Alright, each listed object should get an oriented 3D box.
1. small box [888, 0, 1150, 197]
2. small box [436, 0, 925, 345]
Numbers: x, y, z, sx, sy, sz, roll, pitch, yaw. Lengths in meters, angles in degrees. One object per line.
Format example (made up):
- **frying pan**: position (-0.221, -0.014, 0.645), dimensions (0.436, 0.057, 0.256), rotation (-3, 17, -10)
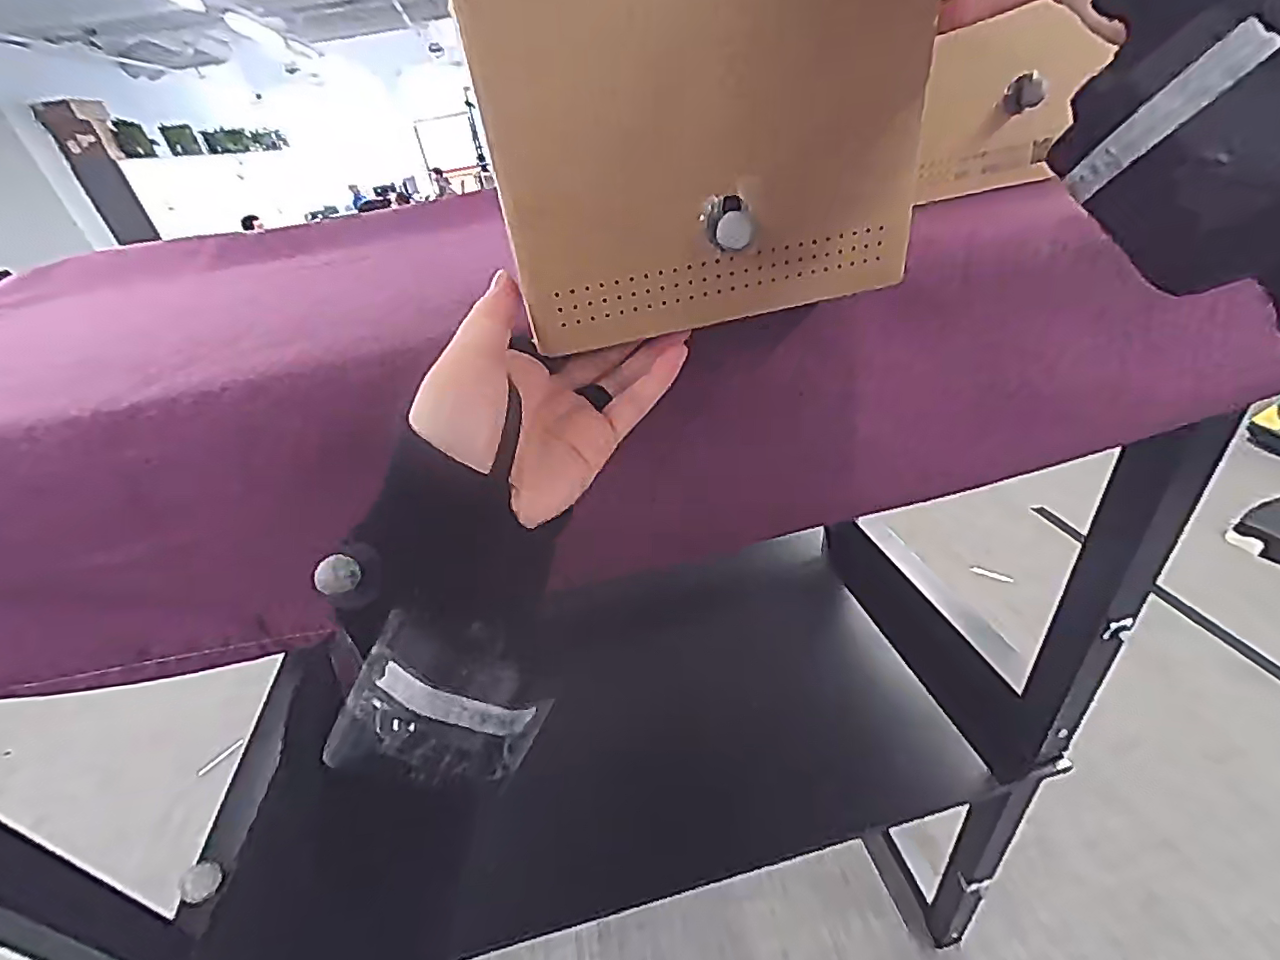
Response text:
- **small box**: position (0.228, -0.321, 0.406), dimensions (0.168, 0.176, 0.179), rotation (-13, 33, -3)
- **small box**: position (0.008, -0.182, 0.258), dimensions (0.179, 0.176, 0.168), rotation (-14, 35, -7)
